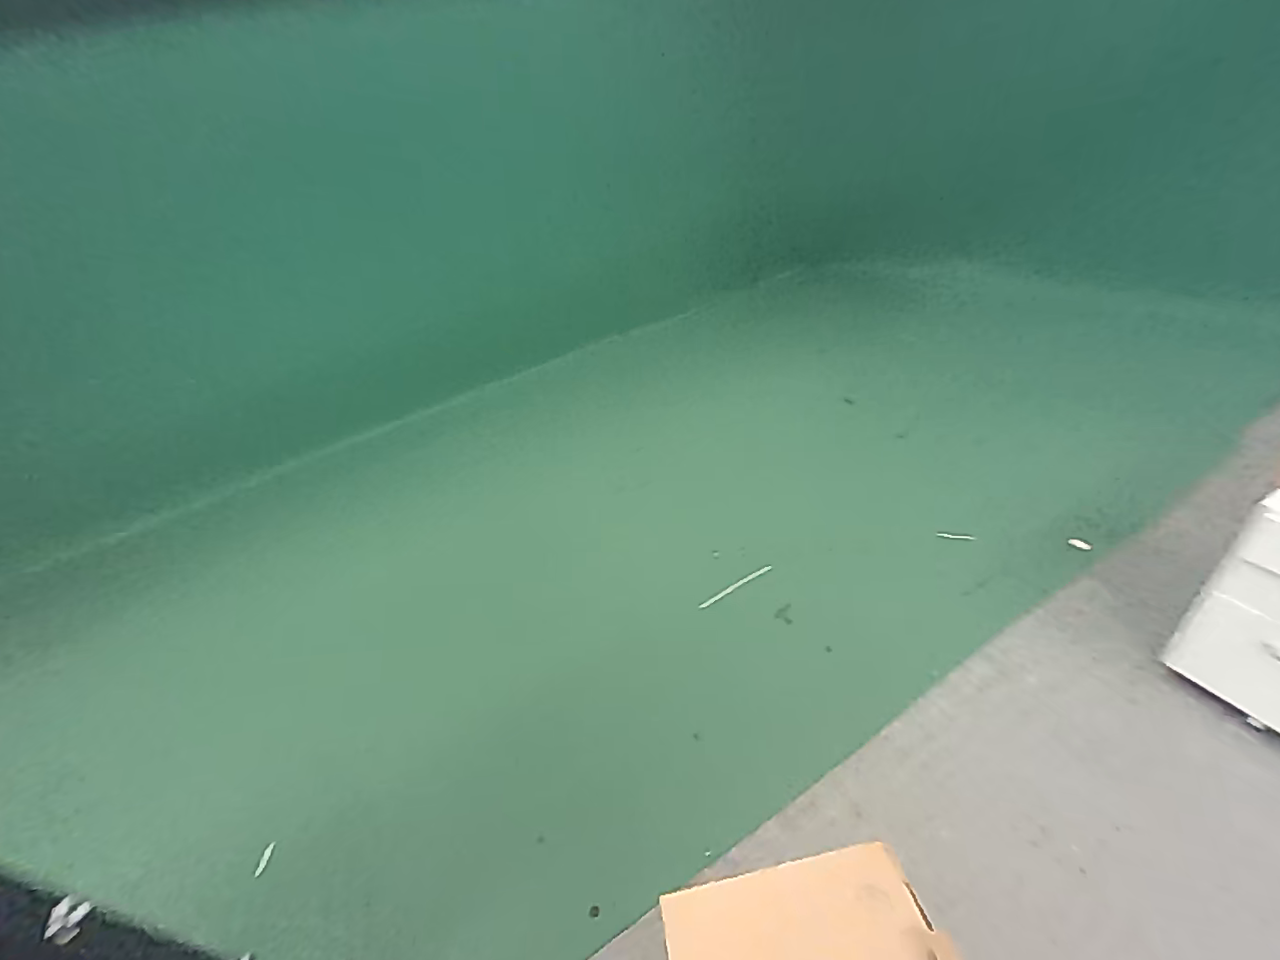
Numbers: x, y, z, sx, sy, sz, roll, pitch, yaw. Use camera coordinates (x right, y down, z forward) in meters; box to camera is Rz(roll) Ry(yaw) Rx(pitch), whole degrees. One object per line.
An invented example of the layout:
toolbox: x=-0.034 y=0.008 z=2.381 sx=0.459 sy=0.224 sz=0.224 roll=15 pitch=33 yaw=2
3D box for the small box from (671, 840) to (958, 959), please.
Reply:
small box: x=0.131 y=0.389 z=0.363 sx=0.179 sy=0.176 sz=0.168 roll=-15 pitch=27 yaw=1
